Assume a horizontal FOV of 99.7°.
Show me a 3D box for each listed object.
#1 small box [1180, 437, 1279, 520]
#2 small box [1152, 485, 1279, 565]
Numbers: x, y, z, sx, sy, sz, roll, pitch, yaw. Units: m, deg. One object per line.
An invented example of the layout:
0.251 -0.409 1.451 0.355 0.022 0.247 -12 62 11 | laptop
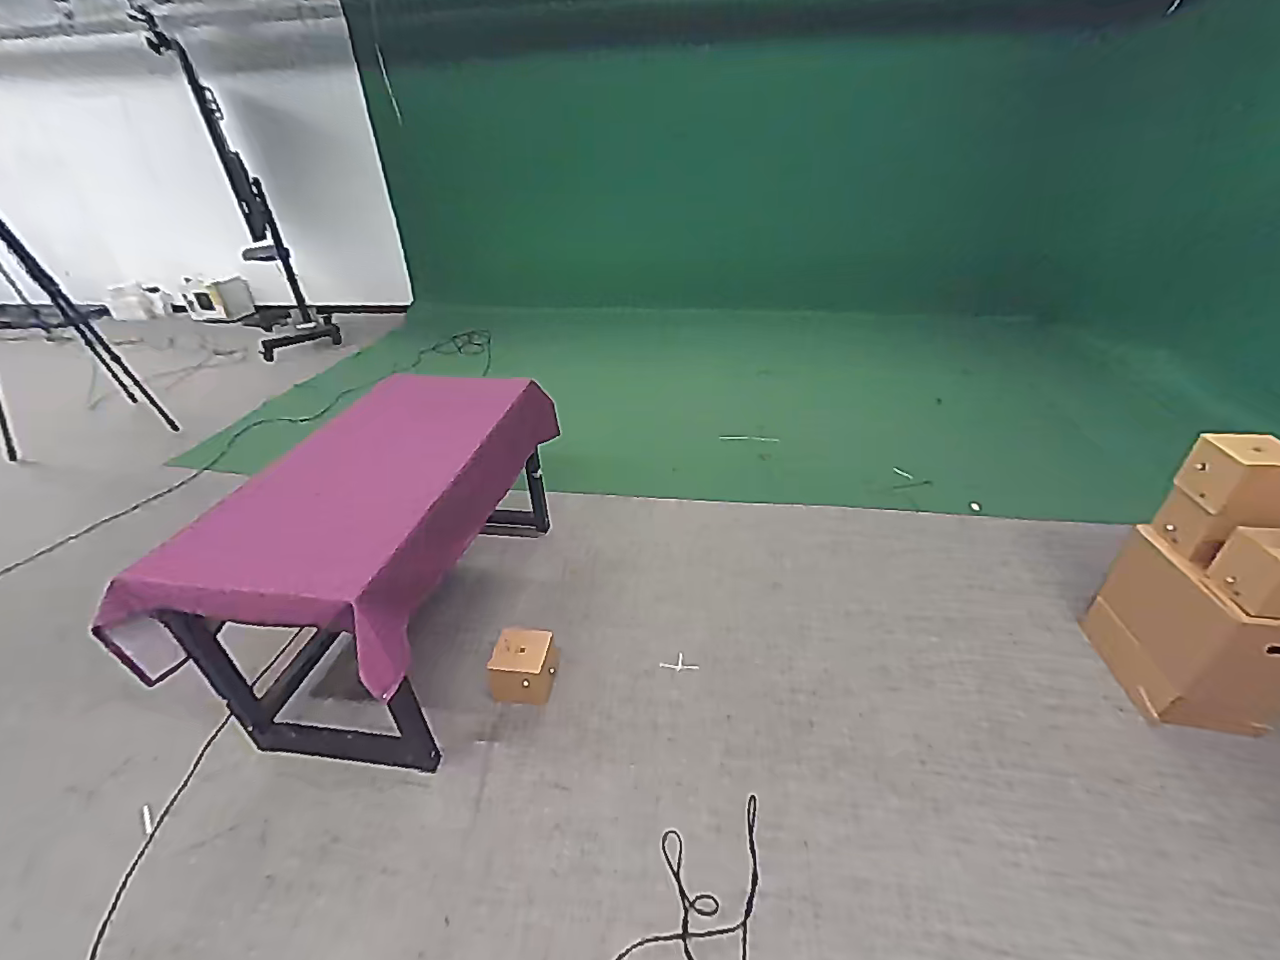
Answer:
1.651 -0.004 1.485 0.179 0.176 0.168 3 35 8 | small box
1.669 0.131 1.574 0.179 0.176 0.168 2 35 9 | small box
